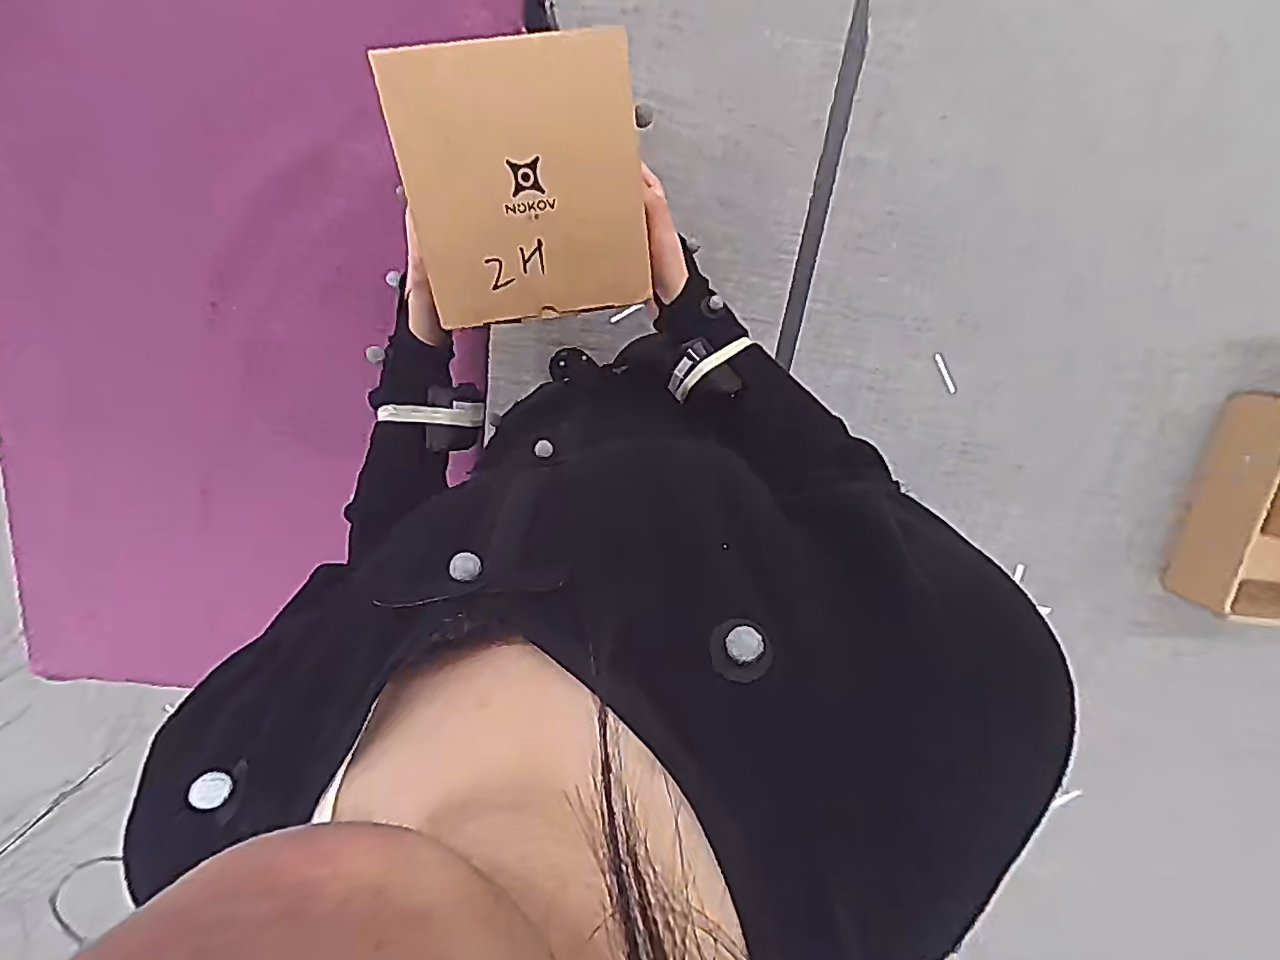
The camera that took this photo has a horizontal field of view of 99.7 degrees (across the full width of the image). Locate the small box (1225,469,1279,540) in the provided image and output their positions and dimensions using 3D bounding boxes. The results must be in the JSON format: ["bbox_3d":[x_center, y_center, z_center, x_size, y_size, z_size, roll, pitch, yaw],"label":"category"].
[{"bbox_3d":[1.793,0.065,1.481,0.179,0.176,0.168,-1,104,-1],"label":"small box"}]

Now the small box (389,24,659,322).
[{"bbox_3d":[-0.083,-0.240,0.453,0.168,0.176,0.179,-8,115,-4],"label":"small box"}]
